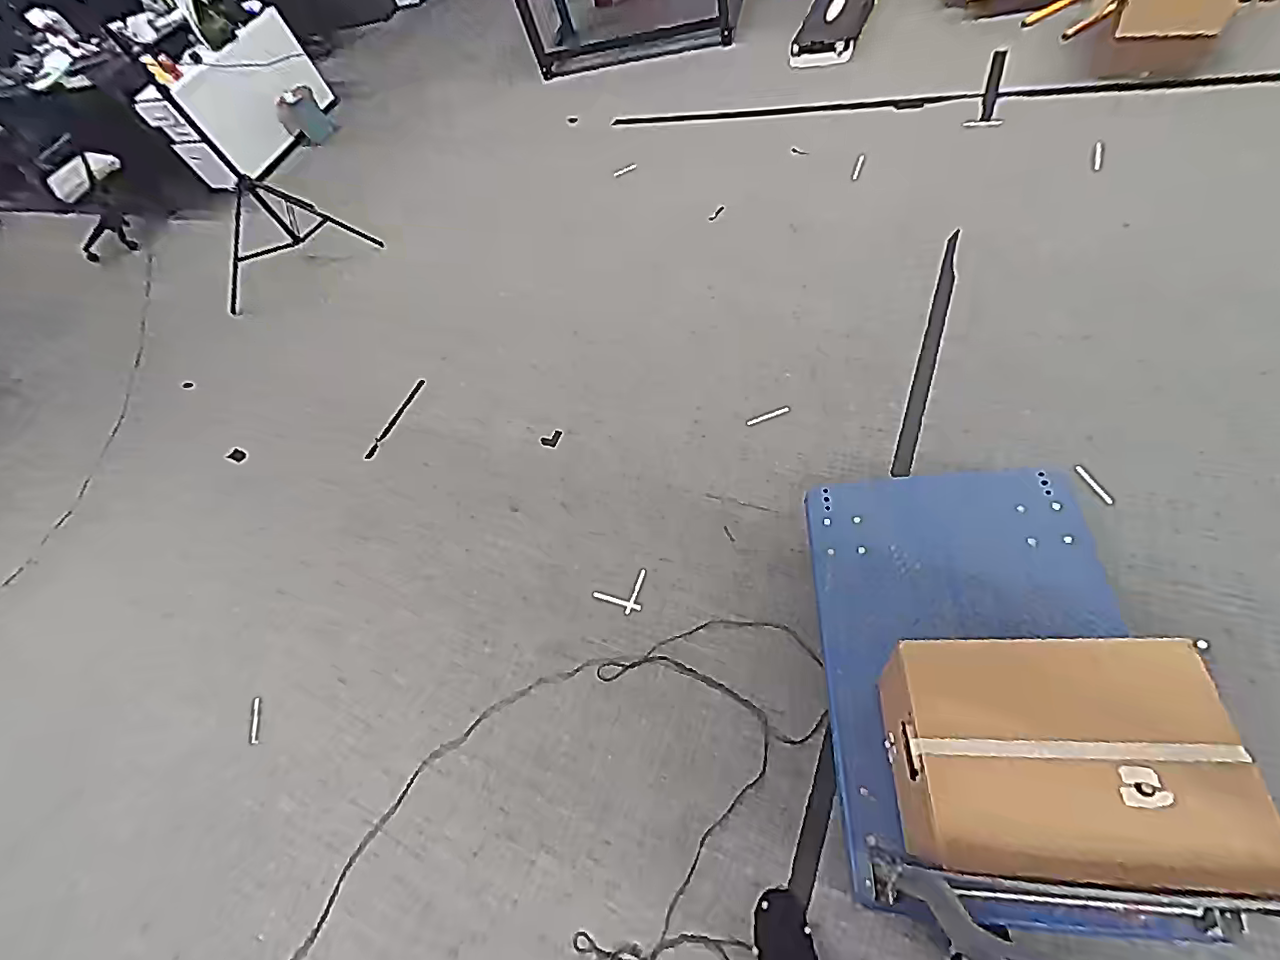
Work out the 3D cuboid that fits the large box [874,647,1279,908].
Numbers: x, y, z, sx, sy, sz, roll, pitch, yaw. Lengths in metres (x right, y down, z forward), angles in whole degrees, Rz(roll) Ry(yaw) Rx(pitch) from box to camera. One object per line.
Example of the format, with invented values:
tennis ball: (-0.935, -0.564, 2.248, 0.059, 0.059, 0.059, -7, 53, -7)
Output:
large box: (0.638, 0.471, 0.882, 0.408, 0.320, 0.320, -4, 59, 13)
